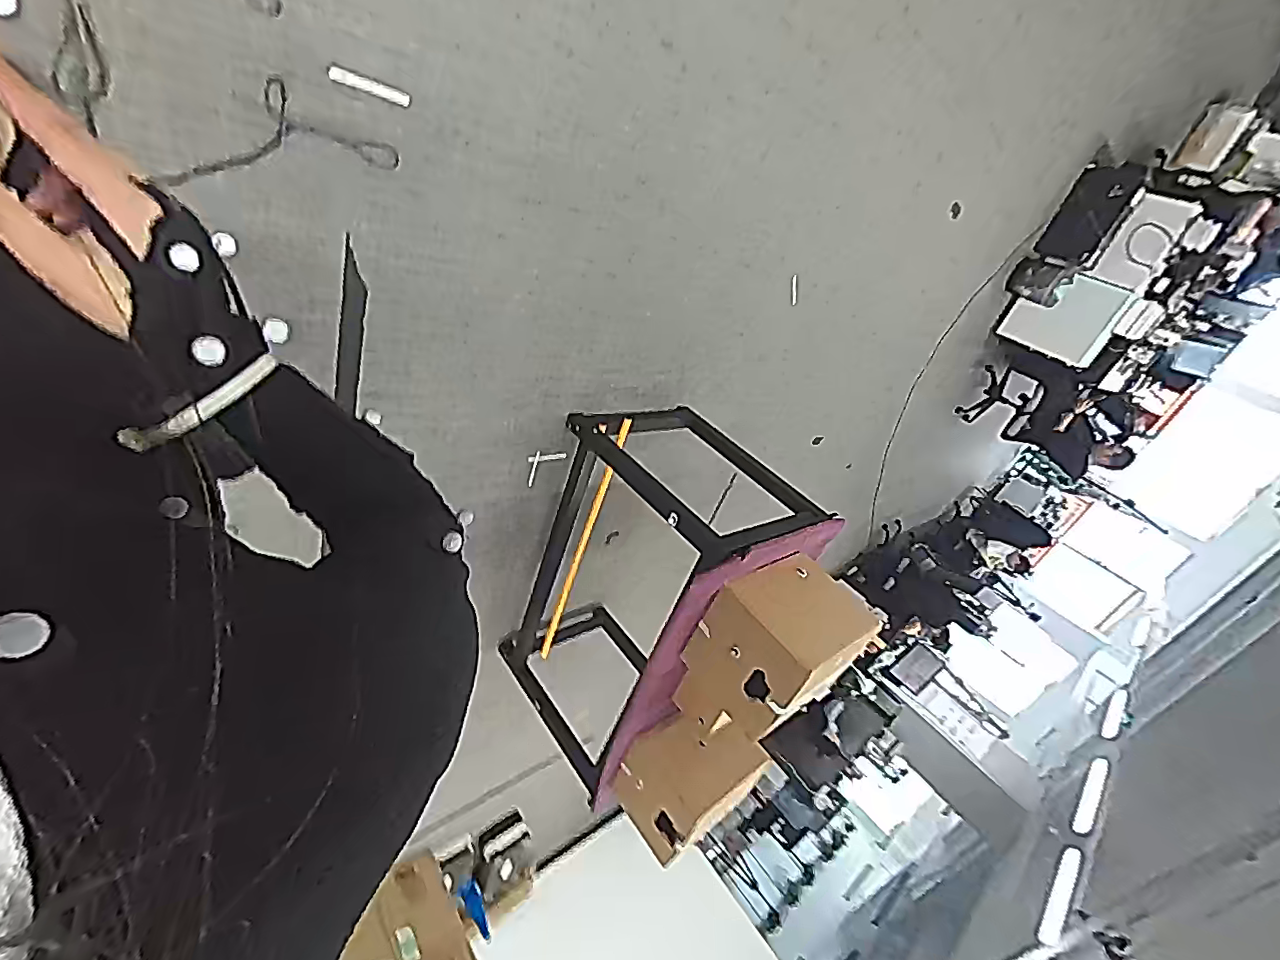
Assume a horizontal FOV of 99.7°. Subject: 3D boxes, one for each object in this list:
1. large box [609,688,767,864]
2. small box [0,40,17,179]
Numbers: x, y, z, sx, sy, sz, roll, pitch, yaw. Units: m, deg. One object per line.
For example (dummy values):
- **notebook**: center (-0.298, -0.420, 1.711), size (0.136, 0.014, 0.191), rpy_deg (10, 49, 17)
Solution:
- **large box**: center (0.162, 1.014, 1.894), size (0.408, 0.320, 0.320), rpy_deg (-11, 133, -44)
- **small box**: center (-0.385, -0.233, 0.203), size (0.179, 0.176, 0.168), rpy_deg (-13, 130, -43)
